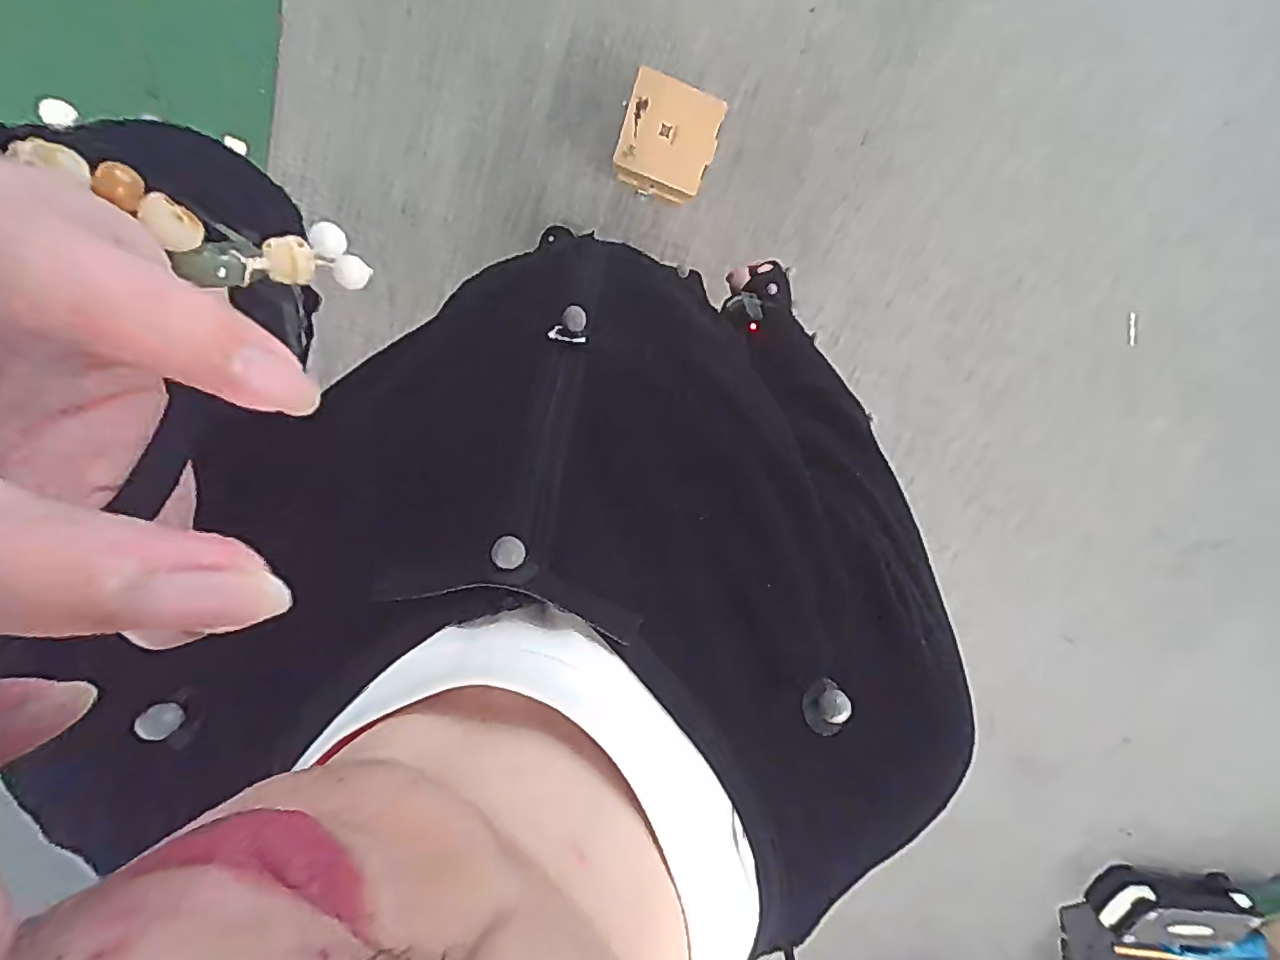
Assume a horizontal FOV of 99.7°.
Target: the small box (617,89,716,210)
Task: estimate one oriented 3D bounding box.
[{"bbox_3d":[0.051,-0.736,1.228,0.168,0.176,0.179,20,112,-9],"label":"small box"}]
